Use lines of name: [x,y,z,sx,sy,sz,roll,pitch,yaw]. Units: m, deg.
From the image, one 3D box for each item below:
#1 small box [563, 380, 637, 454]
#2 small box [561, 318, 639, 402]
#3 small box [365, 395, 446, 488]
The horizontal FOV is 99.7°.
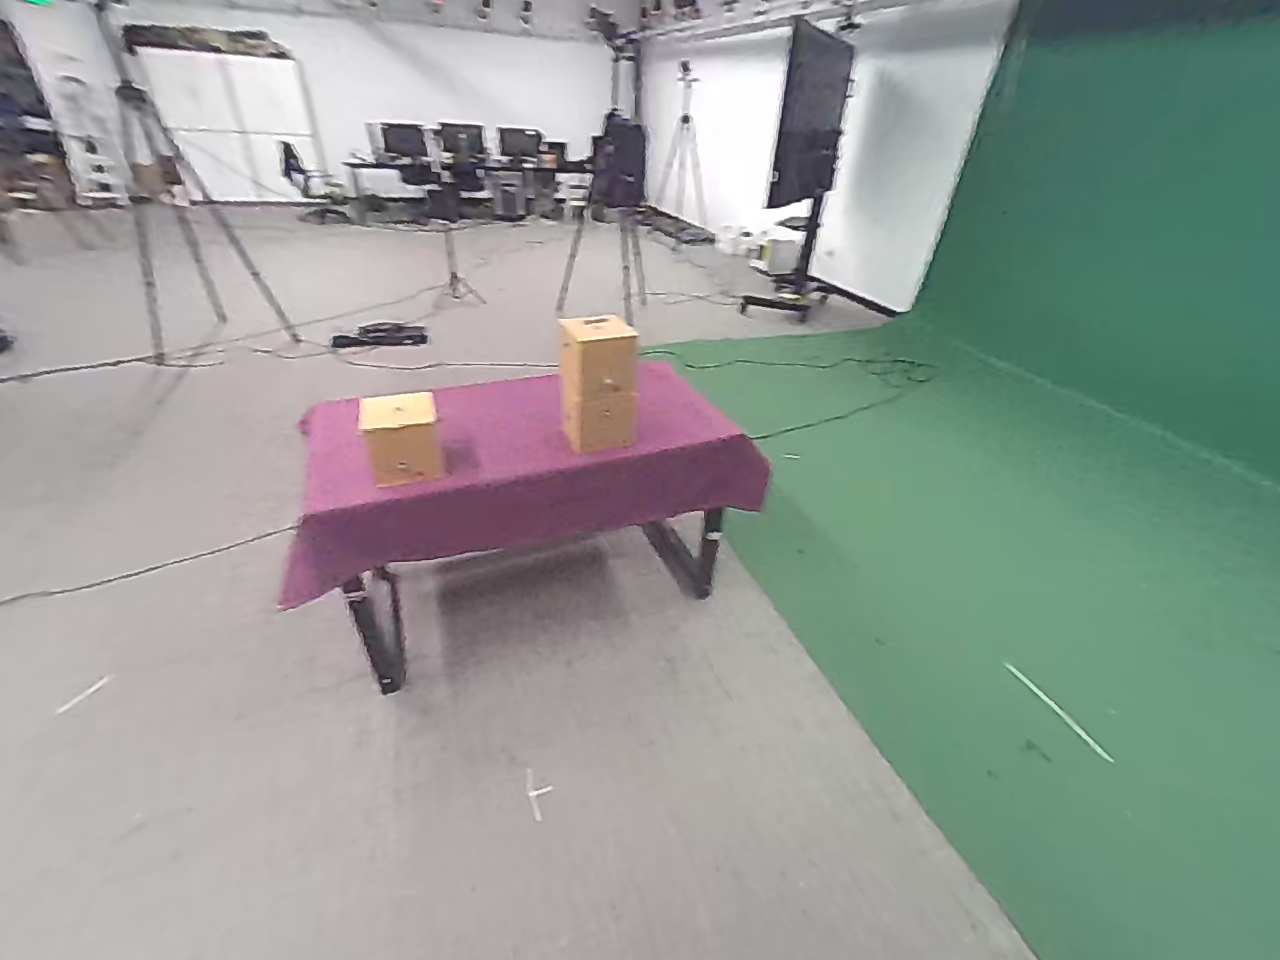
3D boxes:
small box: [-0.117,-0.190,1.566,0.179,0.176,0.168,-10,37,-19]
small box: [-0.113,-0.331,1.481,0.168,0.176,0.179,-12,38,-21]
small box: [-0.603,-0.102,1.399,0.168,0.176,0.179,-10,37,-19]
